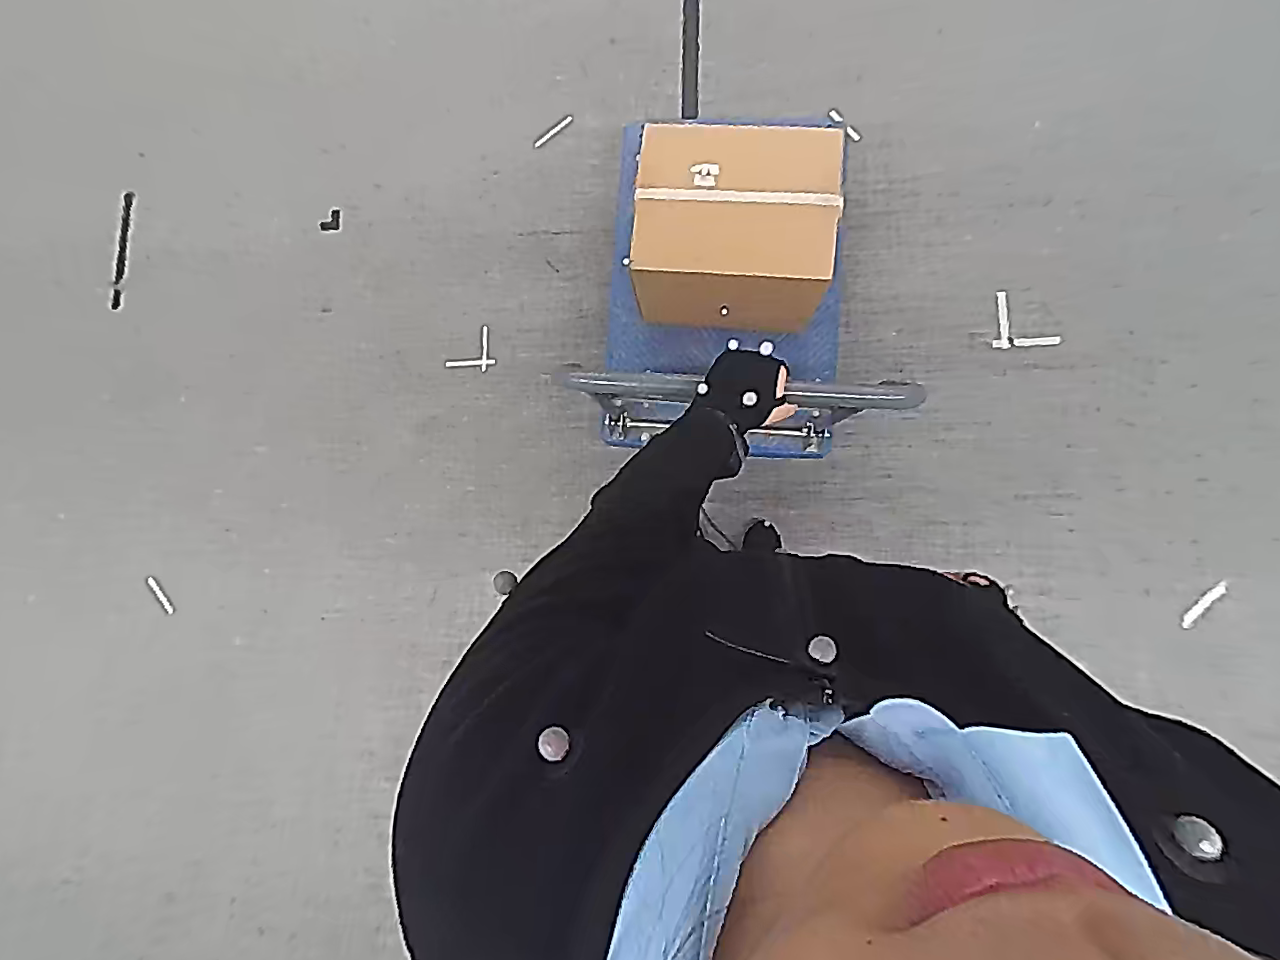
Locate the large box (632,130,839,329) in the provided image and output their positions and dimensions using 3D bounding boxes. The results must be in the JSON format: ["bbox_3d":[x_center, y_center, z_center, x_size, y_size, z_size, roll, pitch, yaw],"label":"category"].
[{"bbox_3d":[0.212,-0.551,1.242,0.408,0.320,0.320,5,85,8],"label":"large box"}]
